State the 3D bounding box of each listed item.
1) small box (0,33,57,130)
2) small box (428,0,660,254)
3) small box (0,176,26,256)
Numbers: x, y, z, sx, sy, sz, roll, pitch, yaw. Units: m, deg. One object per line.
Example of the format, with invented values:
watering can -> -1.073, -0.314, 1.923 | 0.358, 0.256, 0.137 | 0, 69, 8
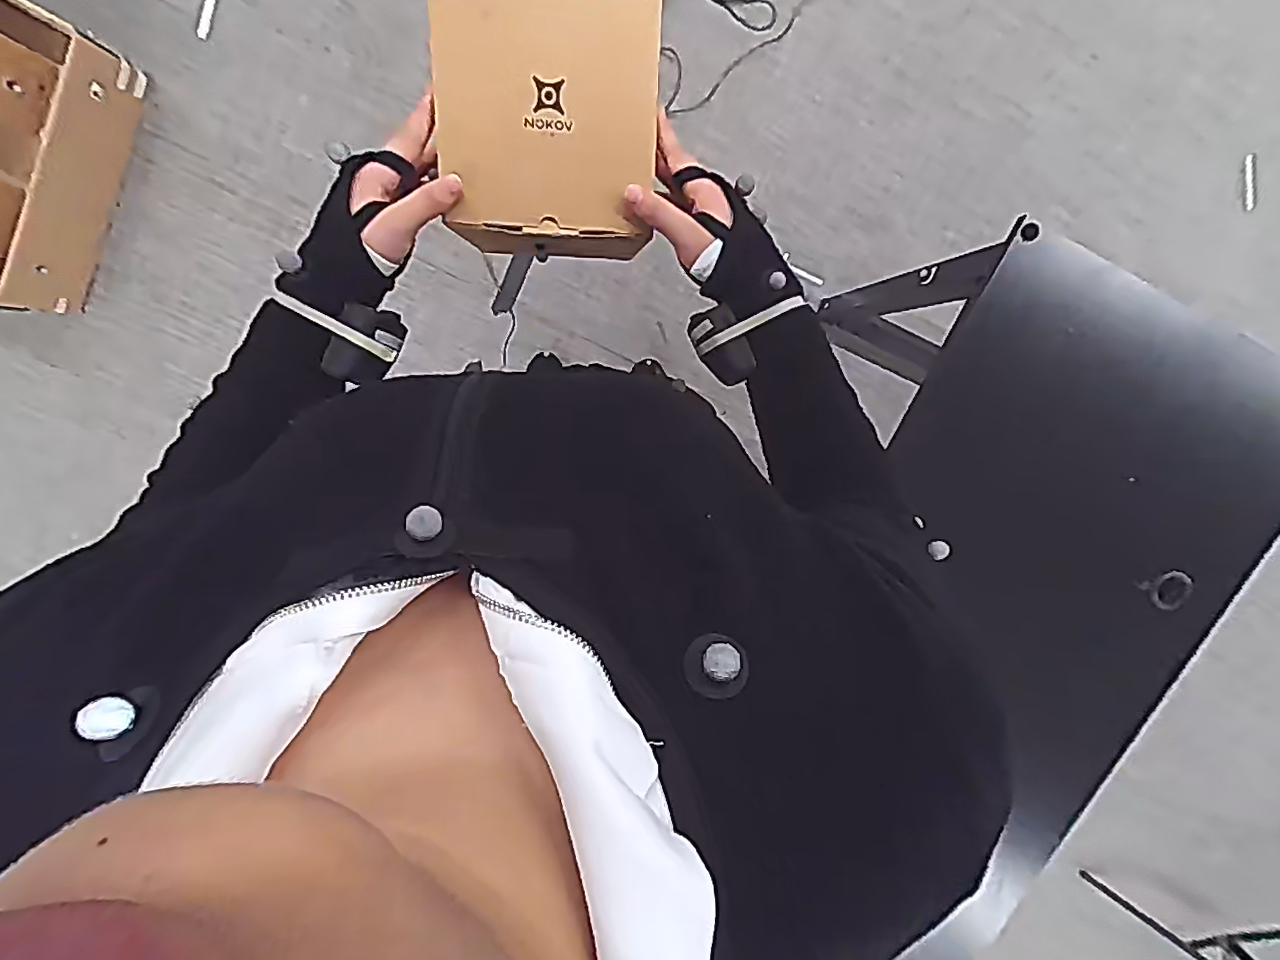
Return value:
small box -> -1.411, -0.879, 1.137 | 0.179, 0.176, 0.168 | 28, 100, -10
small box -> -0.079, -0.305, 0.474 | 0.168, 0.176, 0.179 | 0, 107, -7
small box -> -1.530, -0.619, 1.185 | 0.168, 0.176, 0.179 | 25, 98, -10
